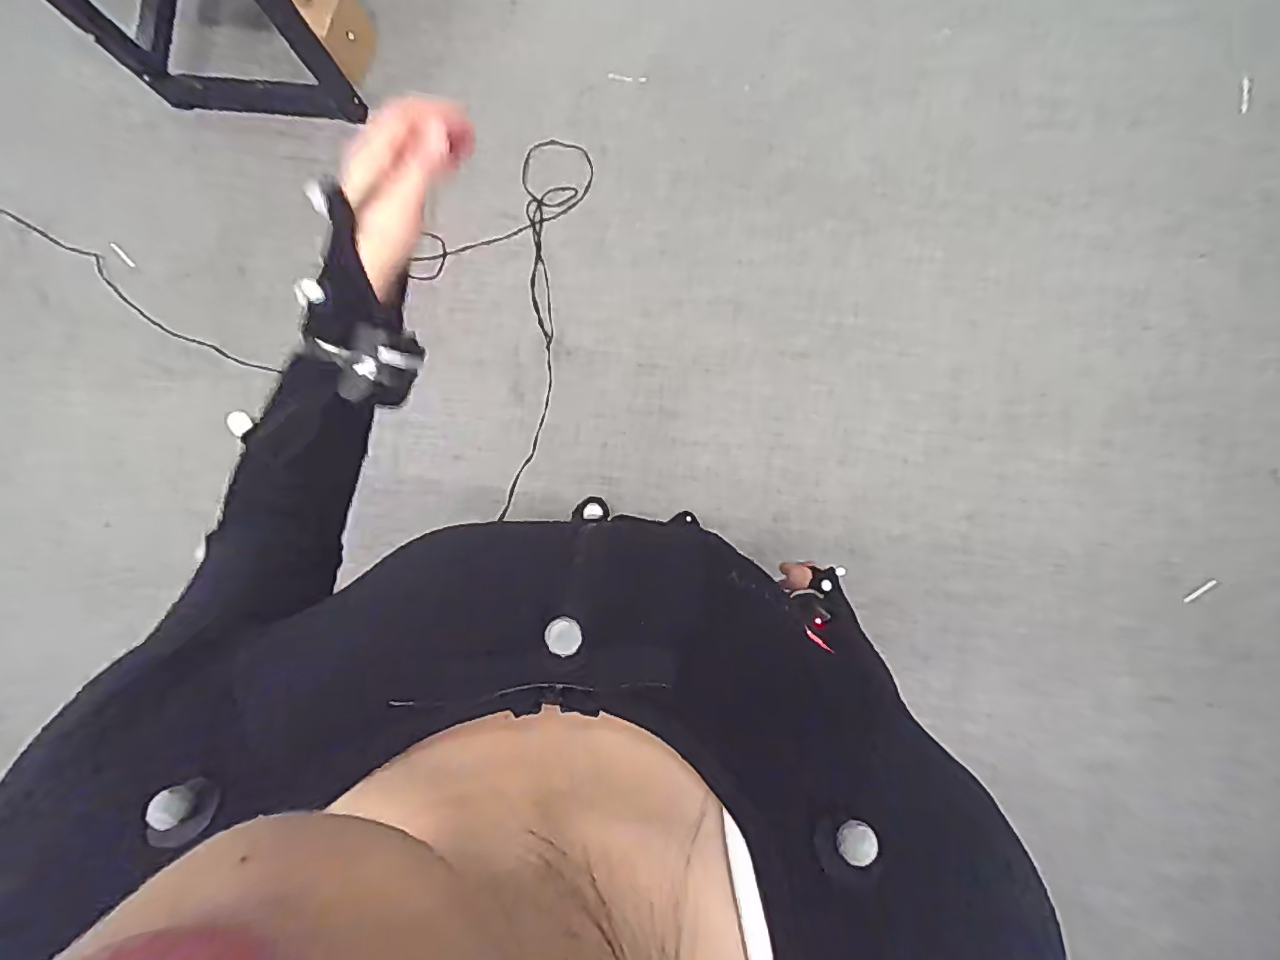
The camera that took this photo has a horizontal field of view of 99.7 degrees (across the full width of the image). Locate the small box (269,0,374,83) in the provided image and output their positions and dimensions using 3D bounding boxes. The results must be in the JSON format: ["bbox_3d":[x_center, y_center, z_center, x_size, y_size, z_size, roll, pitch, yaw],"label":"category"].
[{"bbox_3d":[-0.873,-1.259,1.501,0.168,0.176,0.179,18,89,1],"label":"small box"}]
